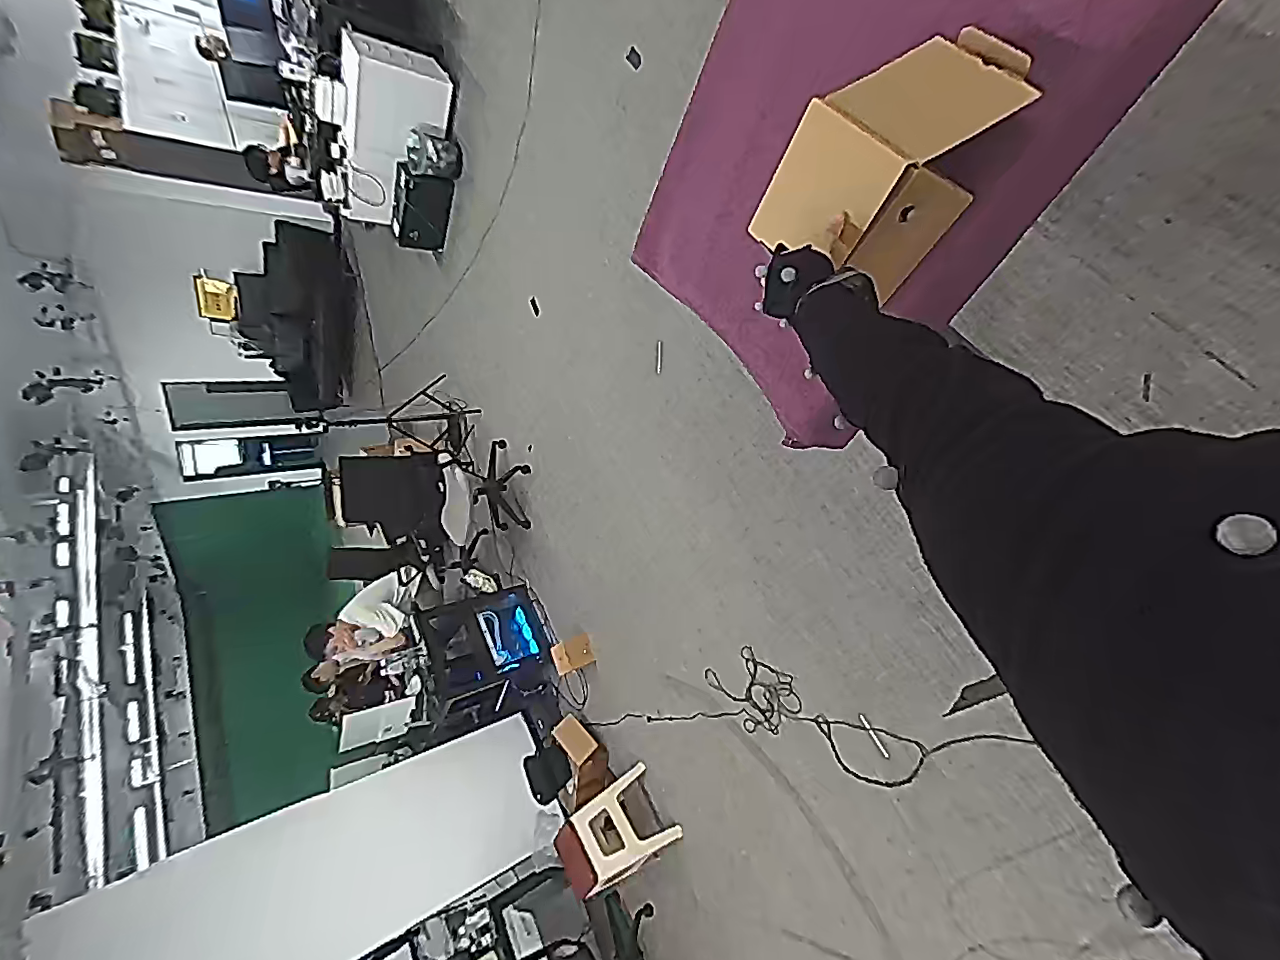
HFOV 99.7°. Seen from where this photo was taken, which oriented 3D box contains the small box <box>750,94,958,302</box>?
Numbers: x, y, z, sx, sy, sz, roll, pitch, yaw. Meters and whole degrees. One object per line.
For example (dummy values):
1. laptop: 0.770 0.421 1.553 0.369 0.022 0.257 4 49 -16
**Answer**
1. small box: 0.291 -0.365 0.728 0.168 0.176 0.179 58 135 26
